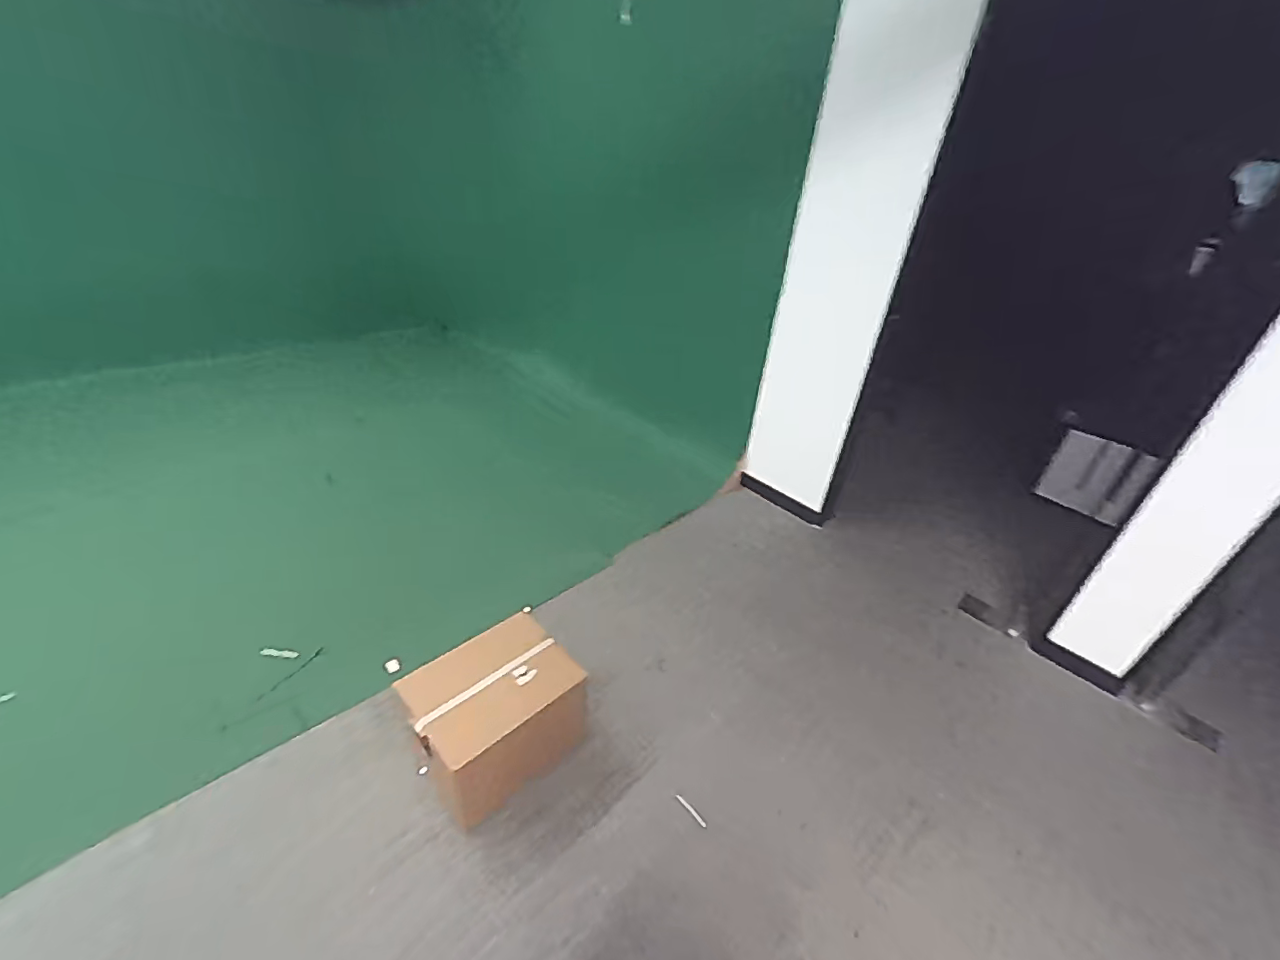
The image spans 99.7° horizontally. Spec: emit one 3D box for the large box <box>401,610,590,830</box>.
[{"bbox_3d":[-0.389,0.649,1.511,0.408,0.320,0.320,-24,43,-38],"label":"large box"}]
